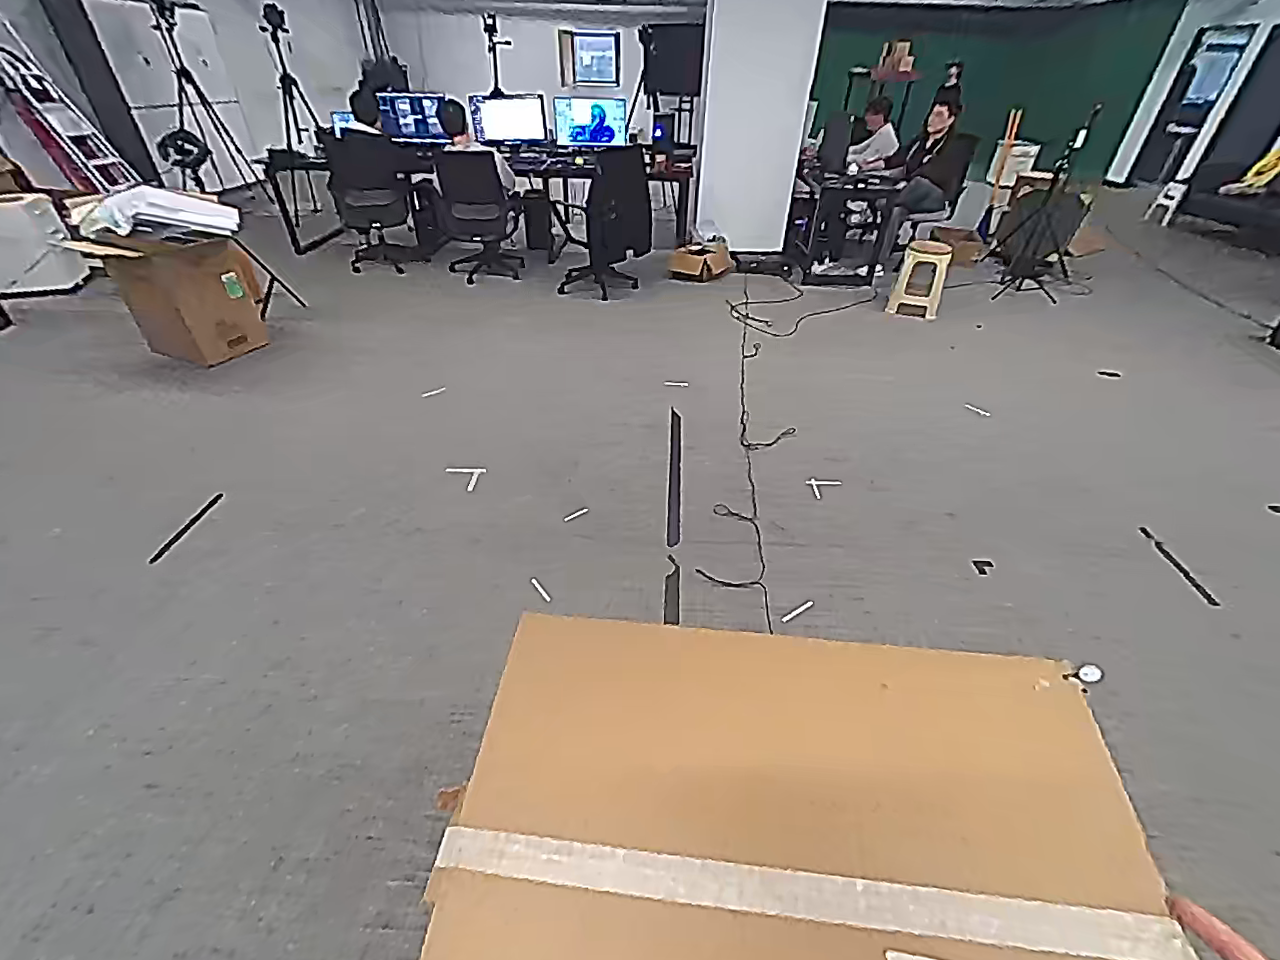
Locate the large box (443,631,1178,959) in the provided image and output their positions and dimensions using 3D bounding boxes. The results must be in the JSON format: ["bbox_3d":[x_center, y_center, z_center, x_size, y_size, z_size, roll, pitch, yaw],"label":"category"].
[{"bbox_3d":[0.095,0.342,0.421,0.408,0.320,0.320,3,49,5],"label":"large box"}]
